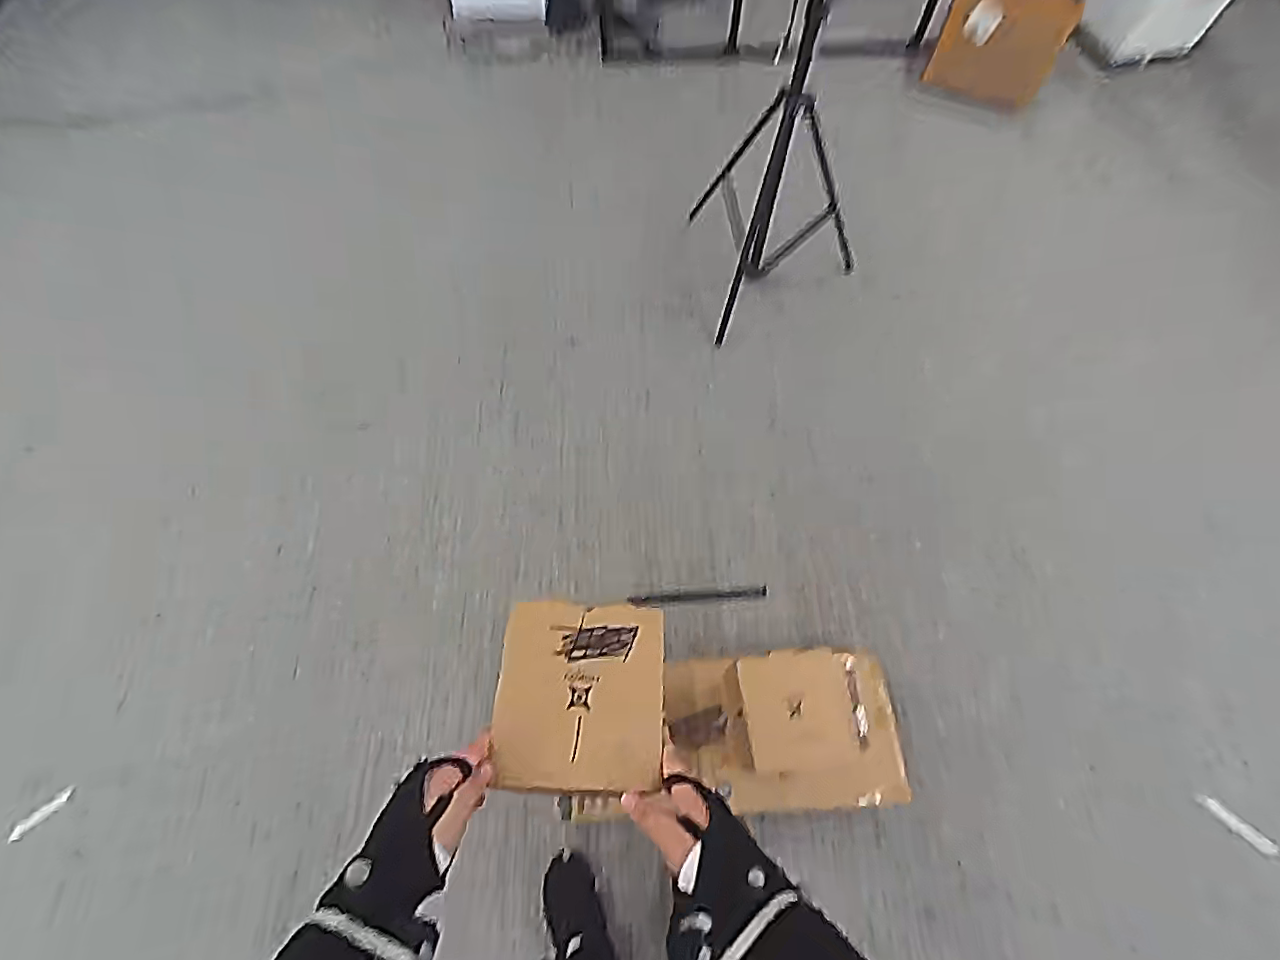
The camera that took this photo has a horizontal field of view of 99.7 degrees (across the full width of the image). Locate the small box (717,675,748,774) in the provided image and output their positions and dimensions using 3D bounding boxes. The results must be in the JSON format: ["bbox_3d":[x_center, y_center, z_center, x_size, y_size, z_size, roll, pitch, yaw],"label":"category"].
[{"bbox_3d":[0.259,0.487,1.100,0.168,0.176,0.179,-4,64,-4],"label":"small box"}]

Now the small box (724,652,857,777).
[{"bbox_3d":[0.251,0.415,0.954,0.168,0.176,0.179,-7,64,-3],"label":"small box"}]

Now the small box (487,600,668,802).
[{"bbox_3d":[-0.064,0.250,0.598,0.168,0.176,0.179,5,58,-5],"label":"small box"}]
